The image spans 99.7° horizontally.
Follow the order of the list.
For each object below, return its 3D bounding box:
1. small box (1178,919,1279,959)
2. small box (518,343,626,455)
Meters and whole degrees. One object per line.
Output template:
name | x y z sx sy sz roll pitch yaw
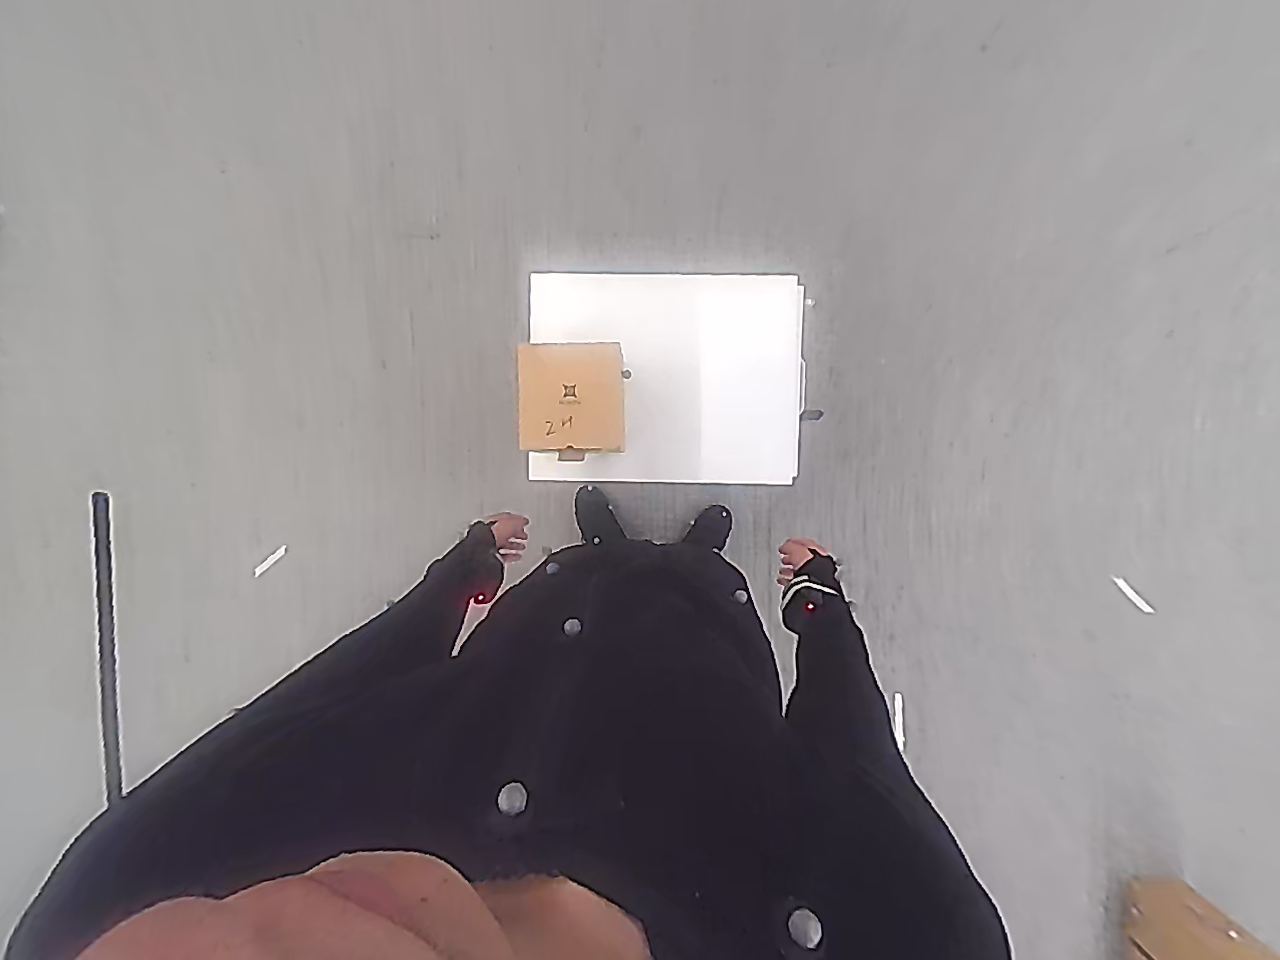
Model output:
small box | 1.556 1.297 1.400 0.168 0.176 0.179 4 91 1
small box | -0.113 -0.135 0.947 0.168 0.176 0.179 0 92 2
